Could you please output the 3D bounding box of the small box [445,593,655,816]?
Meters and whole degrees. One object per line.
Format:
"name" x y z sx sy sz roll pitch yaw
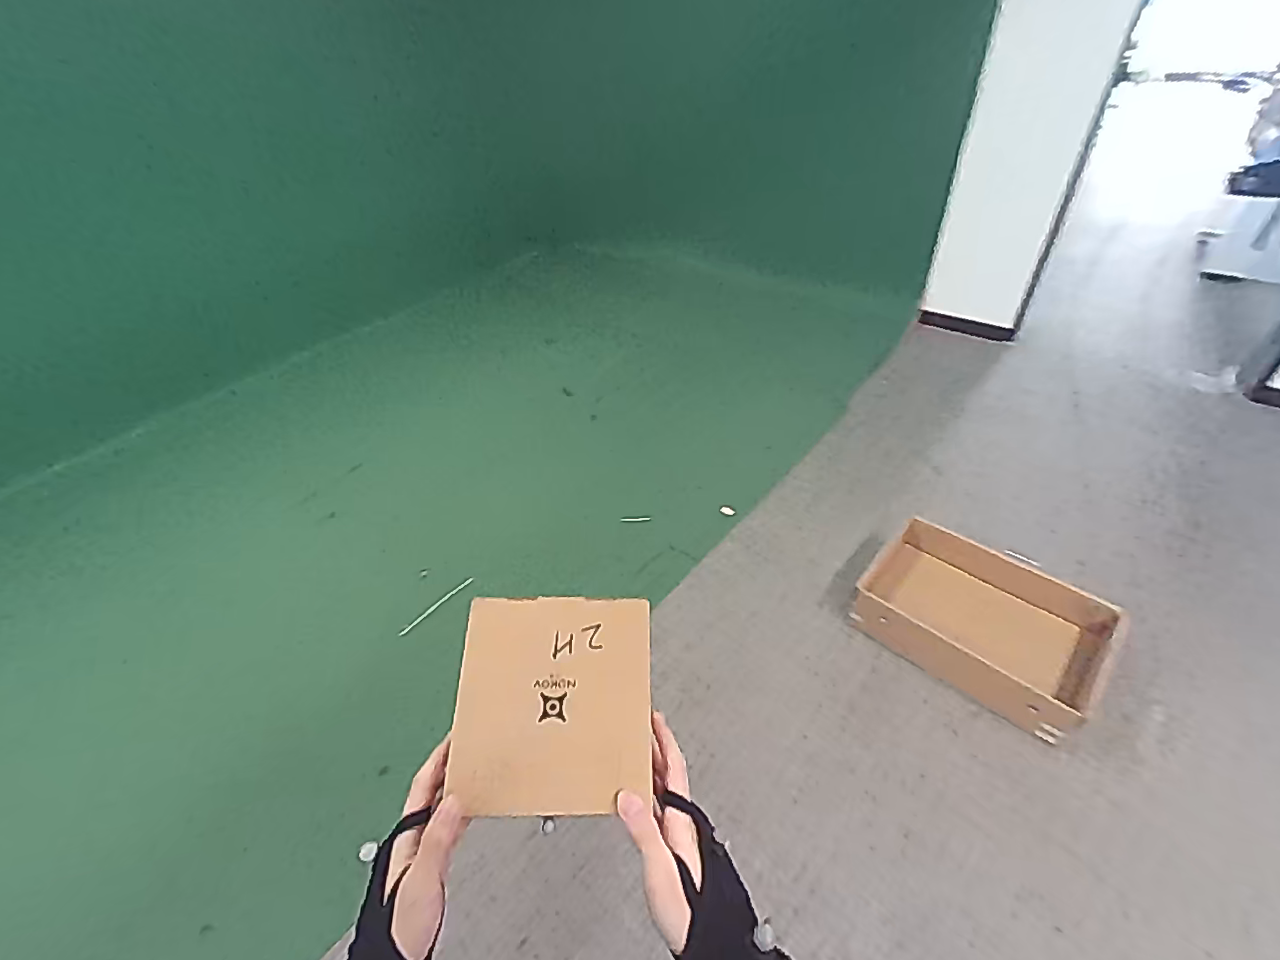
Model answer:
"small box" -0.072 0.224 0.530 0.168 0.176 0.179 2 58 -3
